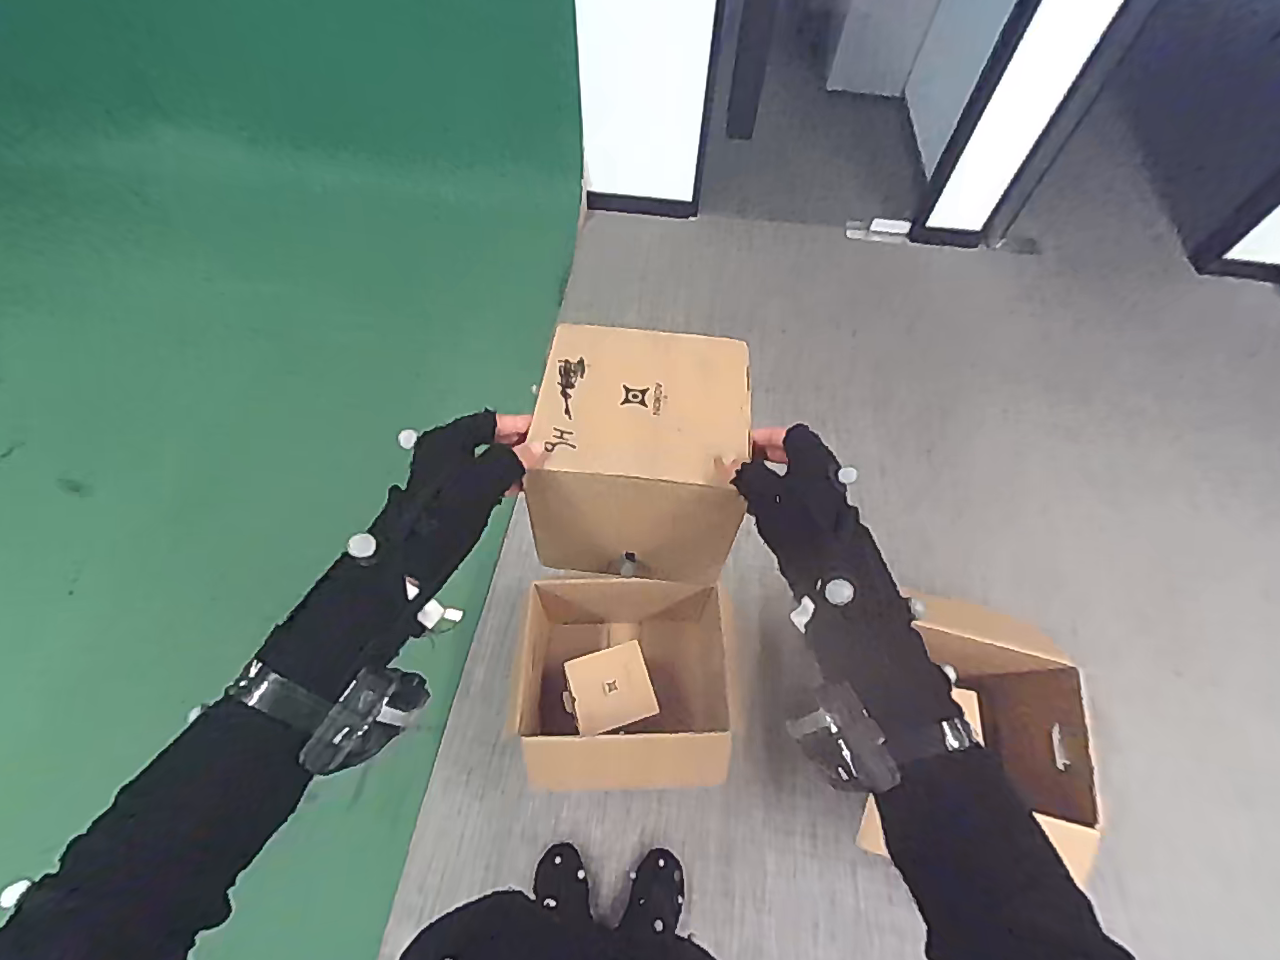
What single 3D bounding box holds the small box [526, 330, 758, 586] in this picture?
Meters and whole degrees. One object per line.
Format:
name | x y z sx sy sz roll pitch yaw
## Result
small box | 0.001 -0.013 0.509 0.179 0.176 0.168 6 54 -1
